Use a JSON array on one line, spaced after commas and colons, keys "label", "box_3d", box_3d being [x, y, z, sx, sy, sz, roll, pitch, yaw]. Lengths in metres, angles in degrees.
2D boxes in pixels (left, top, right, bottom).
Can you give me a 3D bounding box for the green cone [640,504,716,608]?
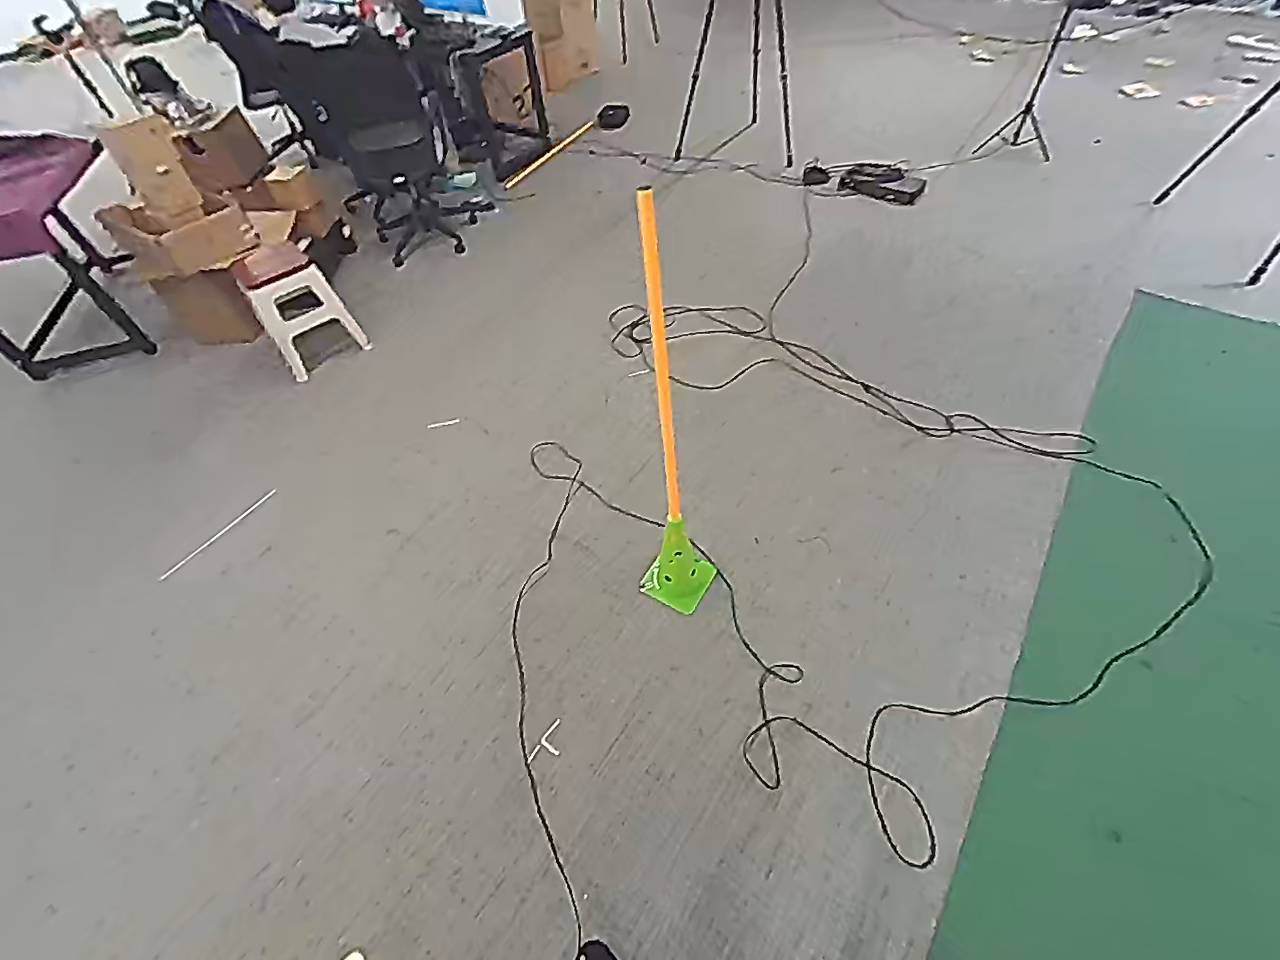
[{"label": "green cone", "box_3d": [0.115, 0.200, 1.642, 0.200, 0.368, 0.202, 24, 56, 22]}]
